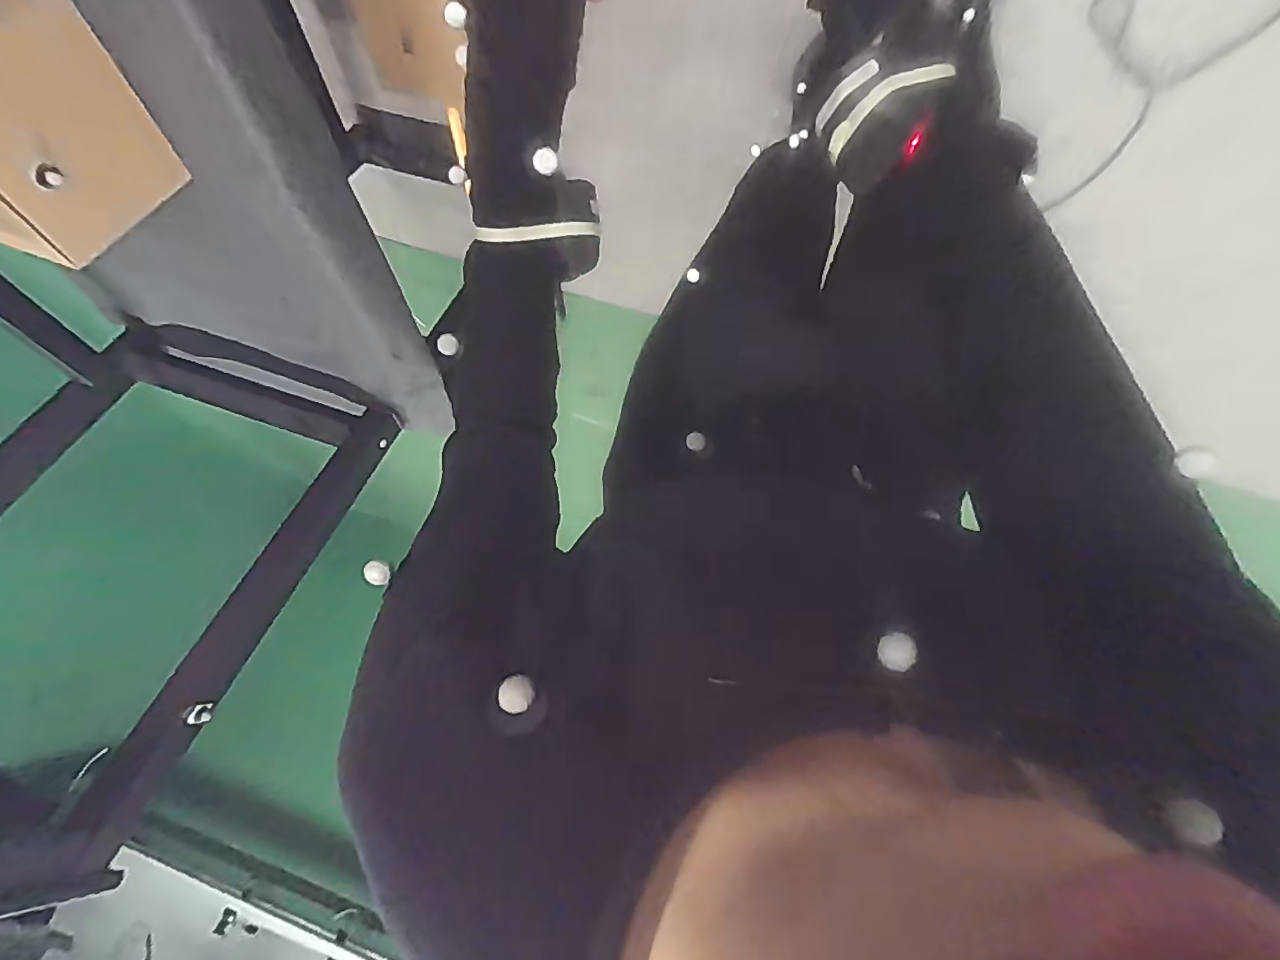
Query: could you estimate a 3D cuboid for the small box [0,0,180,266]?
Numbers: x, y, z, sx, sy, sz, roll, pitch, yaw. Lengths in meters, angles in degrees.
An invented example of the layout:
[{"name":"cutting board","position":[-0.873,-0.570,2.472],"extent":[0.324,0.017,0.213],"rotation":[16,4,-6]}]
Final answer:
[{"name":"small box","position":[-0.604,-0.346,0.507],"extent":[0.168,0.176,0.179],"rotation":[19,152,4]}]
